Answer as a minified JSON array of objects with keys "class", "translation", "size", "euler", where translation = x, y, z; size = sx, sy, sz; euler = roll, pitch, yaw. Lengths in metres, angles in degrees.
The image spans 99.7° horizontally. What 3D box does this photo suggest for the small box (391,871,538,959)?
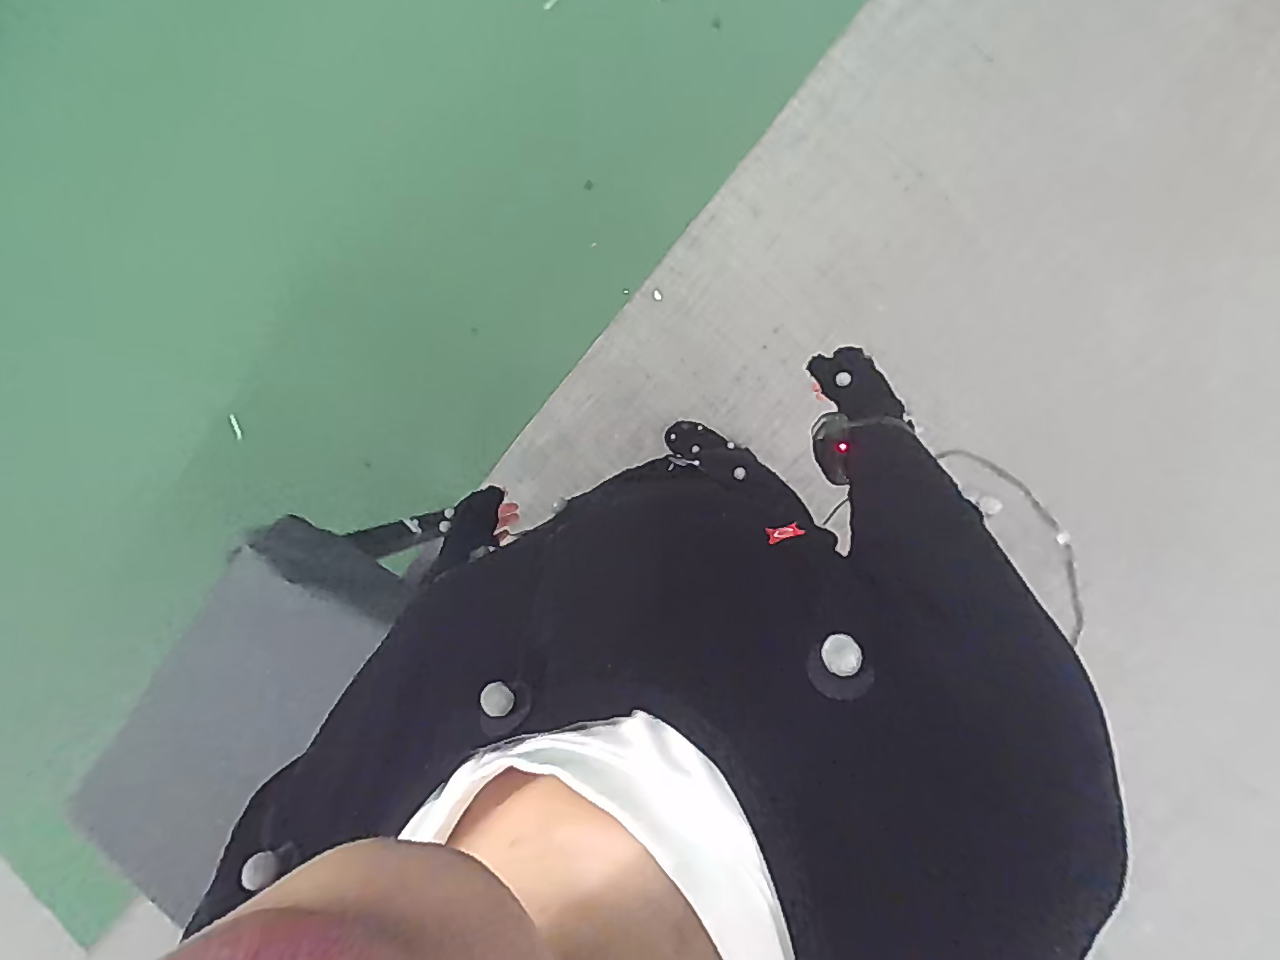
[{"class":"small box","translation":[-0.262,0.705,0.748],"size":[0.168,0.176,0.179],"euler":[39,98,3]}]
